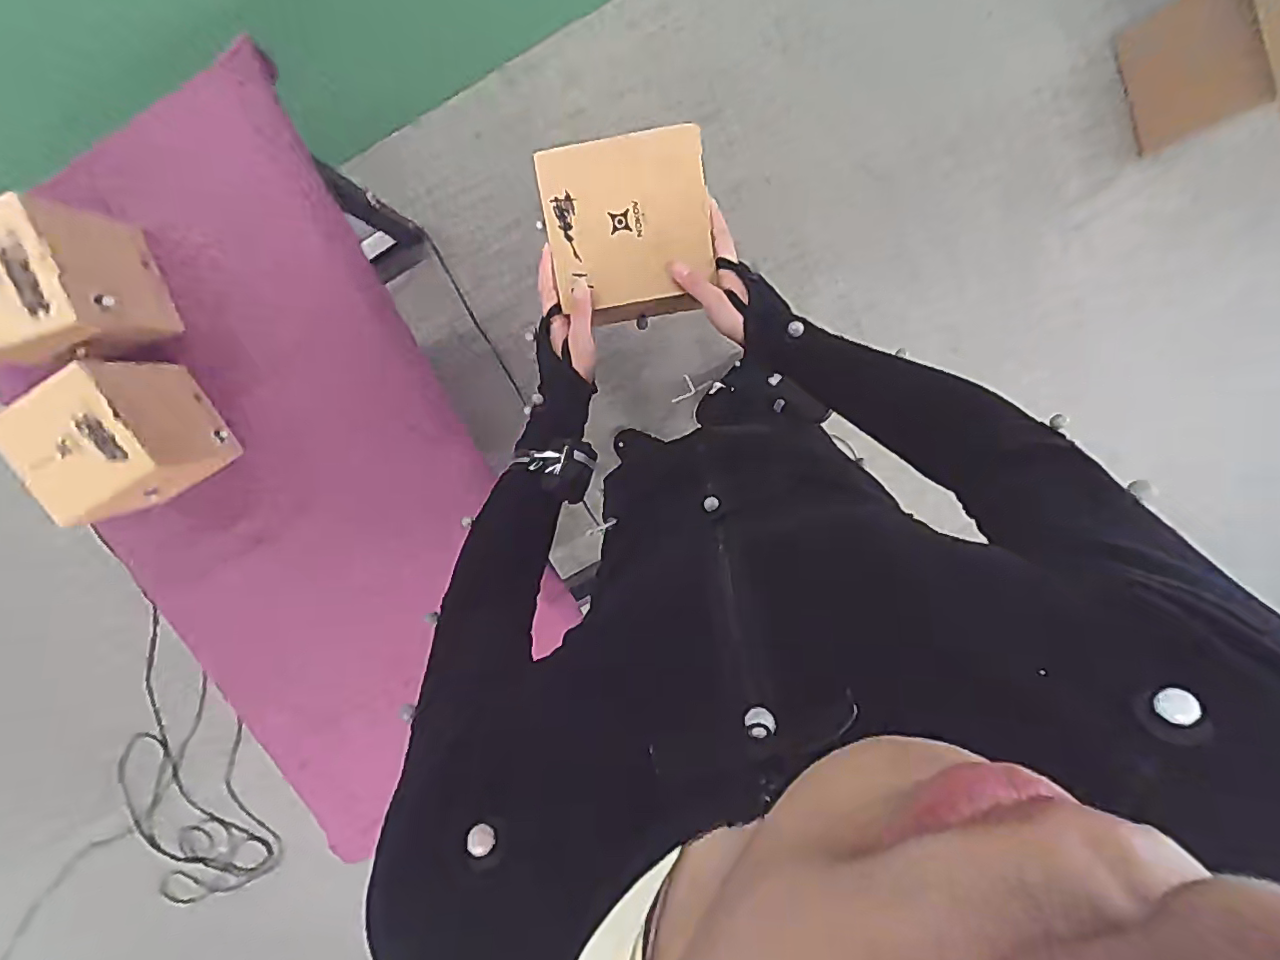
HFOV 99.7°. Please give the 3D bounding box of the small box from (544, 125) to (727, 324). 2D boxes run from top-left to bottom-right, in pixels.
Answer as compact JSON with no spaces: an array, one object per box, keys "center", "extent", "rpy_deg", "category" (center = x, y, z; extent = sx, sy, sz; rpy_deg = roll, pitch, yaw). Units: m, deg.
[{"center":[-0.004,-0.287,0.645],"extent":[0.179,0.176,0.168],"rpy_deg":[-8,100,1],"category":"small box"}]
